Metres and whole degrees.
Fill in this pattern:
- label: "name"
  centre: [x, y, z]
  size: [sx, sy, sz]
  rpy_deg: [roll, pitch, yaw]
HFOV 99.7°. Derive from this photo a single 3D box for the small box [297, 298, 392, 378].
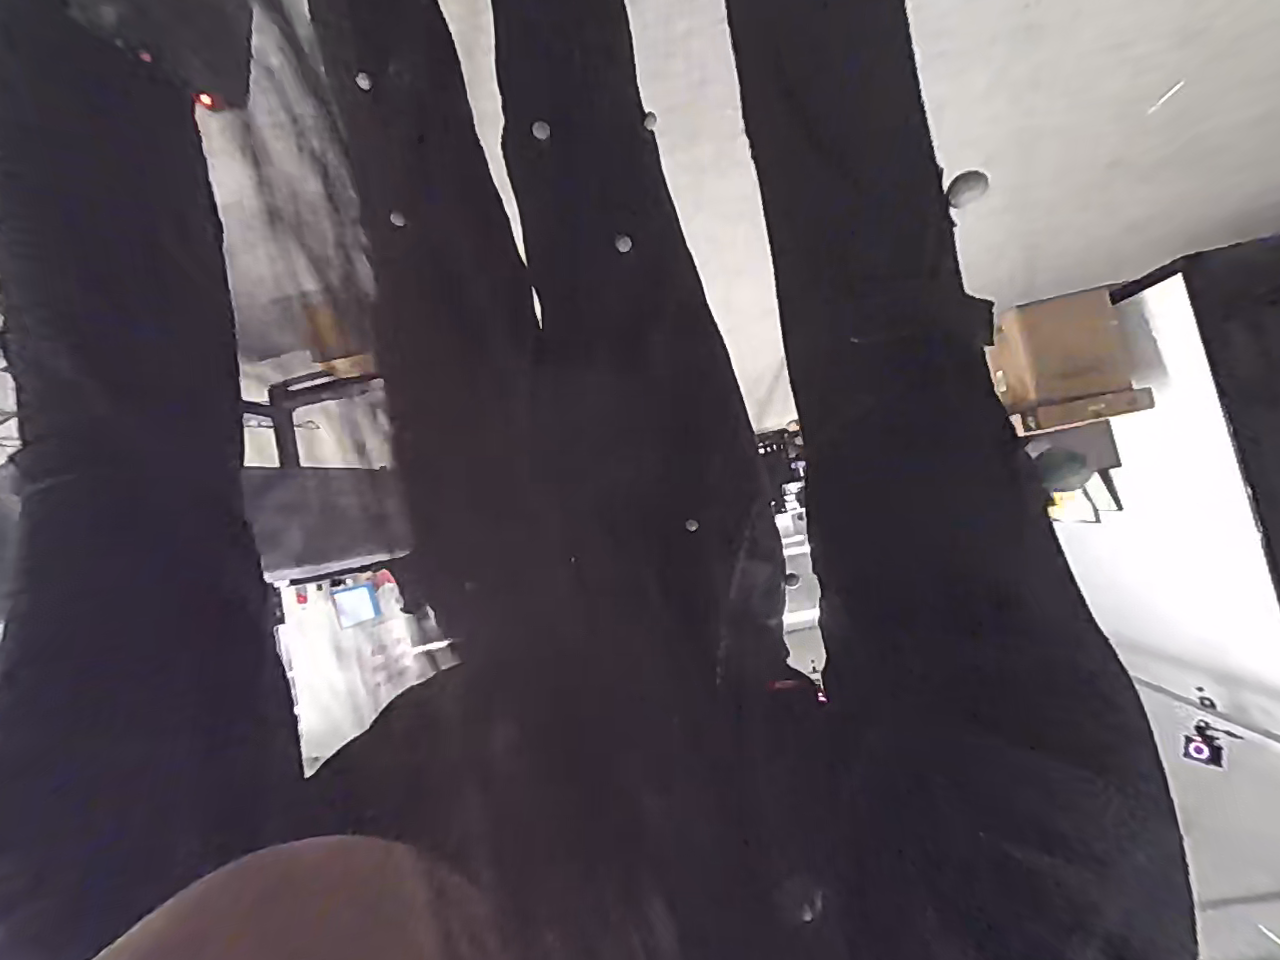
- label: "small box"
  centre: [-0.863, -0.414, 1.581]
  size: [0.179, 0.176, 0.168]
  rpy_deg: [-13, 176, 0]
